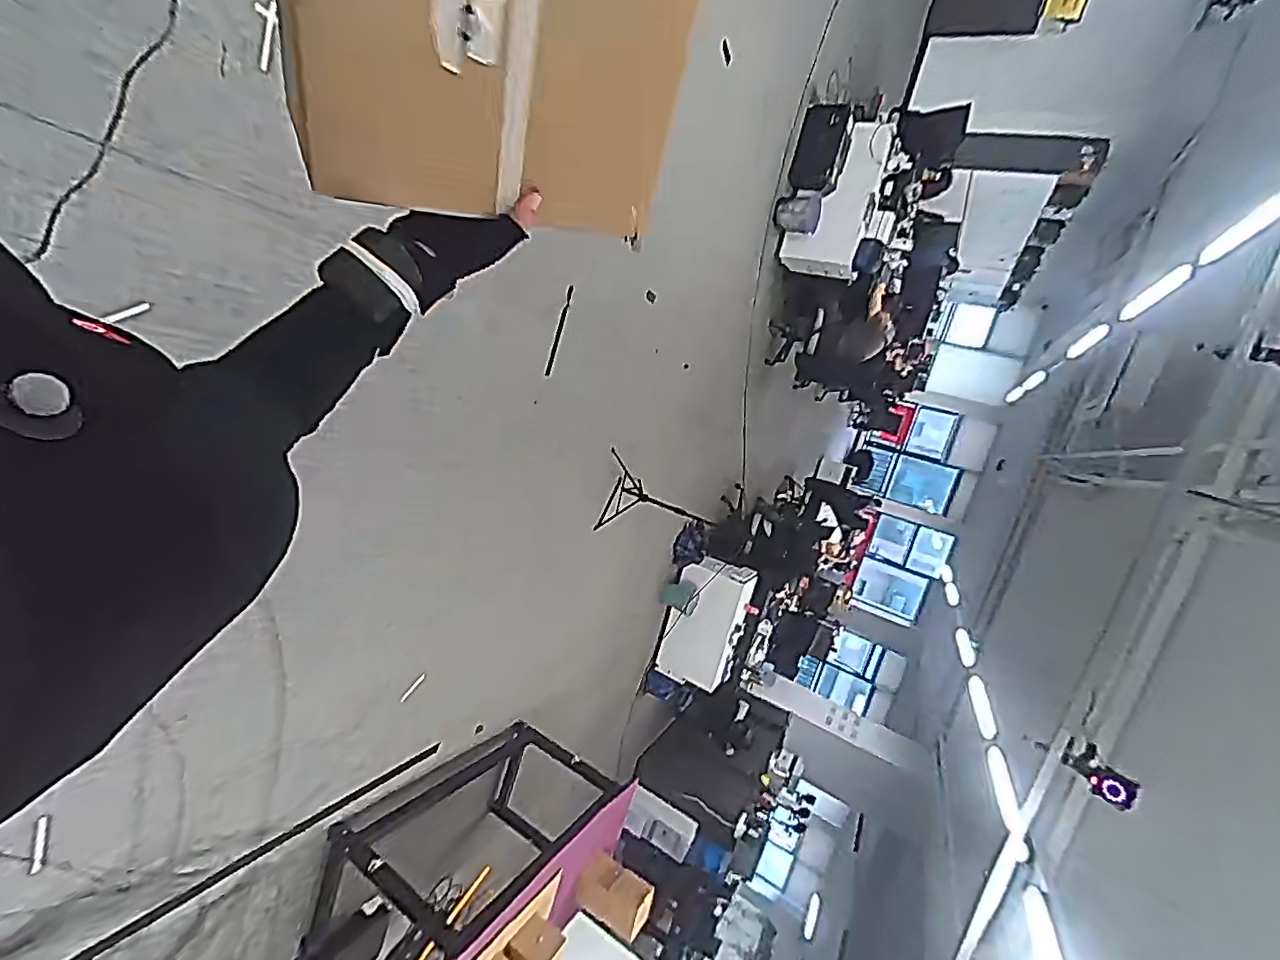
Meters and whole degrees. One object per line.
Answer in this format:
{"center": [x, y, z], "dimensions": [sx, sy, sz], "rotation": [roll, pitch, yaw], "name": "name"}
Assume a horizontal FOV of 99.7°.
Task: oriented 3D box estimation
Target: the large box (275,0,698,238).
{"center": [-0.148, -0.499, 0.487], "dimensions": [0.320, 0.320, 0.408], "rotation": [-6, 136, -33], "name": "large box"}
